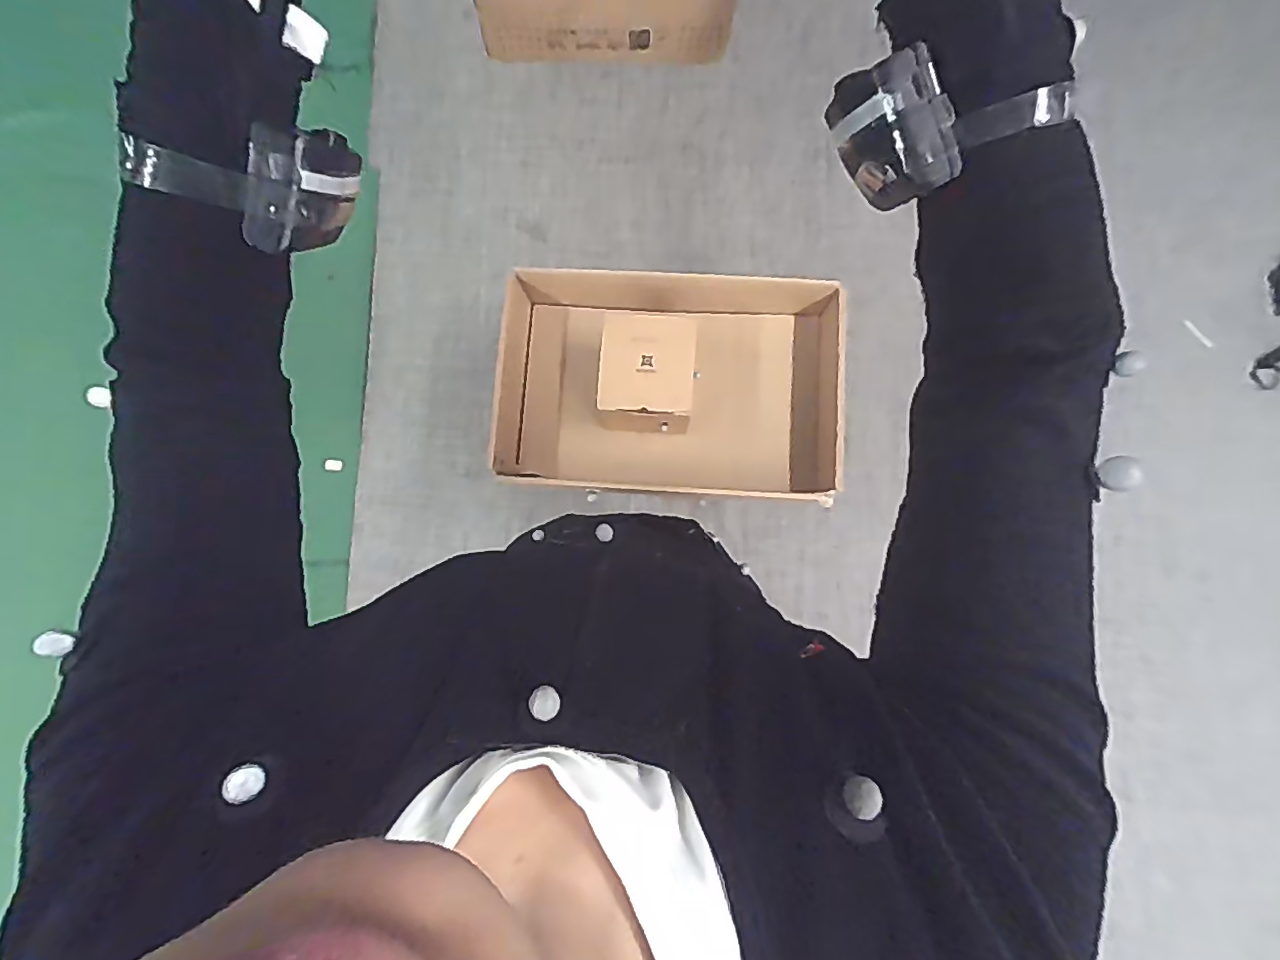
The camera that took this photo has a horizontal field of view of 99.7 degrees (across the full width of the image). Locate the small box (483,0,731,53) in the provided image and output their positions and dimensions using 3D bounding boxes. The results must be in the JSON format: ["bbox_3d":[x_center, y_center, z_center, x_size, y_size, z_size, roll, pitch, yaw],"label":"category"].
[{"bbox_3d":[-0.021,-0.387,0.306,0.168,0.176,0.179,-1,84,-2],"label":"small box"}]

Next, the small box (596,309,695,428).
[{"bbox_3d":[0.012,-0.200,1.016,0.168,0.176,0.179,3,82,1],"label":"small box"}]
